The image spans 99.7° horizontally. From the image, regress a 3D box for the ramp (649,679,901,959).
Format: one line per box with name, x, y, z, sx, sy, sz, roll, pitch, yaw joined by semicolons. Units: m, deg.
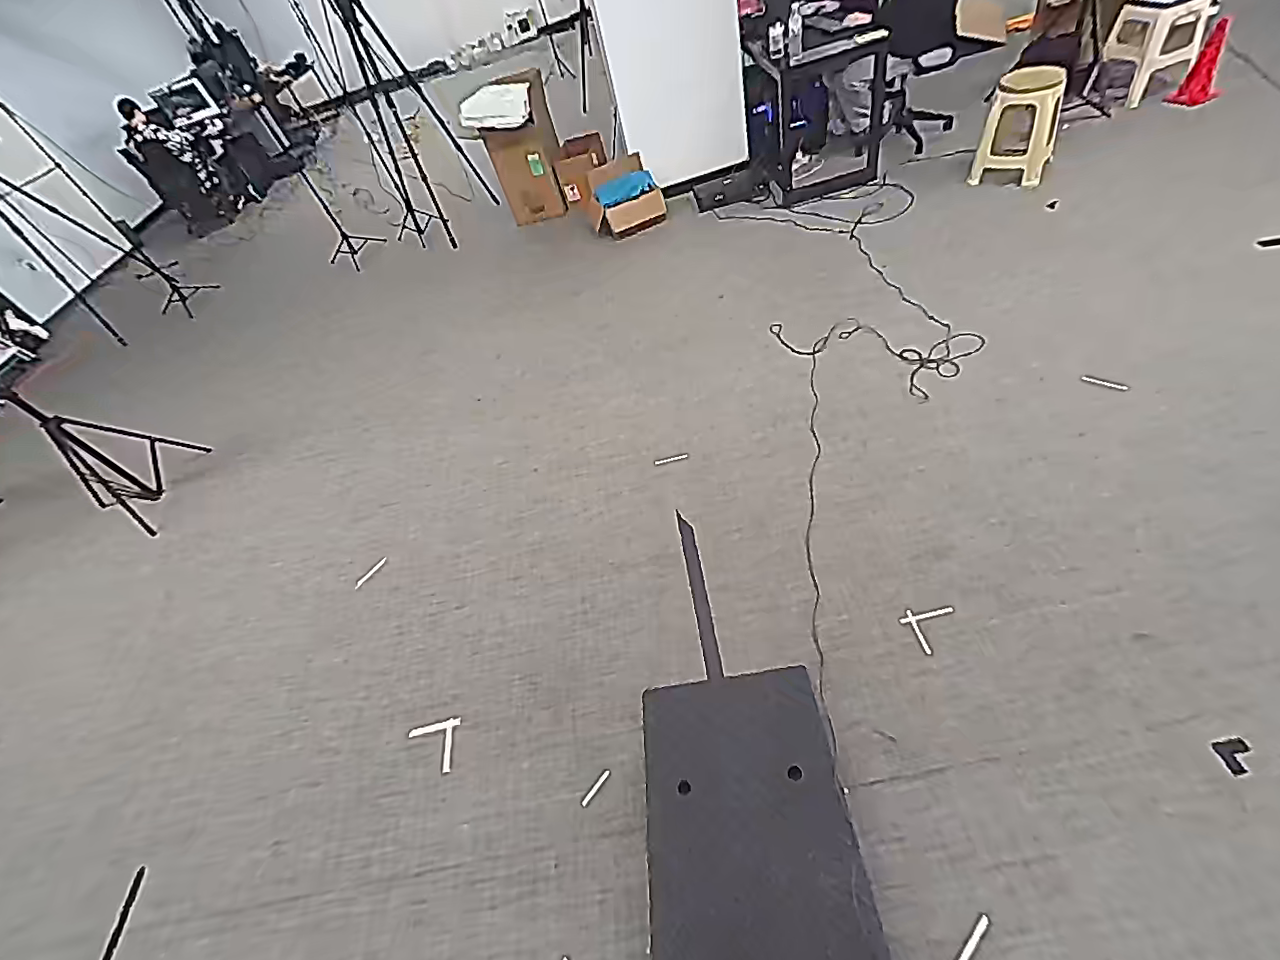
ramp;0.278;0.933;1.203;0.509;0.206;0.991;-15;45;7
